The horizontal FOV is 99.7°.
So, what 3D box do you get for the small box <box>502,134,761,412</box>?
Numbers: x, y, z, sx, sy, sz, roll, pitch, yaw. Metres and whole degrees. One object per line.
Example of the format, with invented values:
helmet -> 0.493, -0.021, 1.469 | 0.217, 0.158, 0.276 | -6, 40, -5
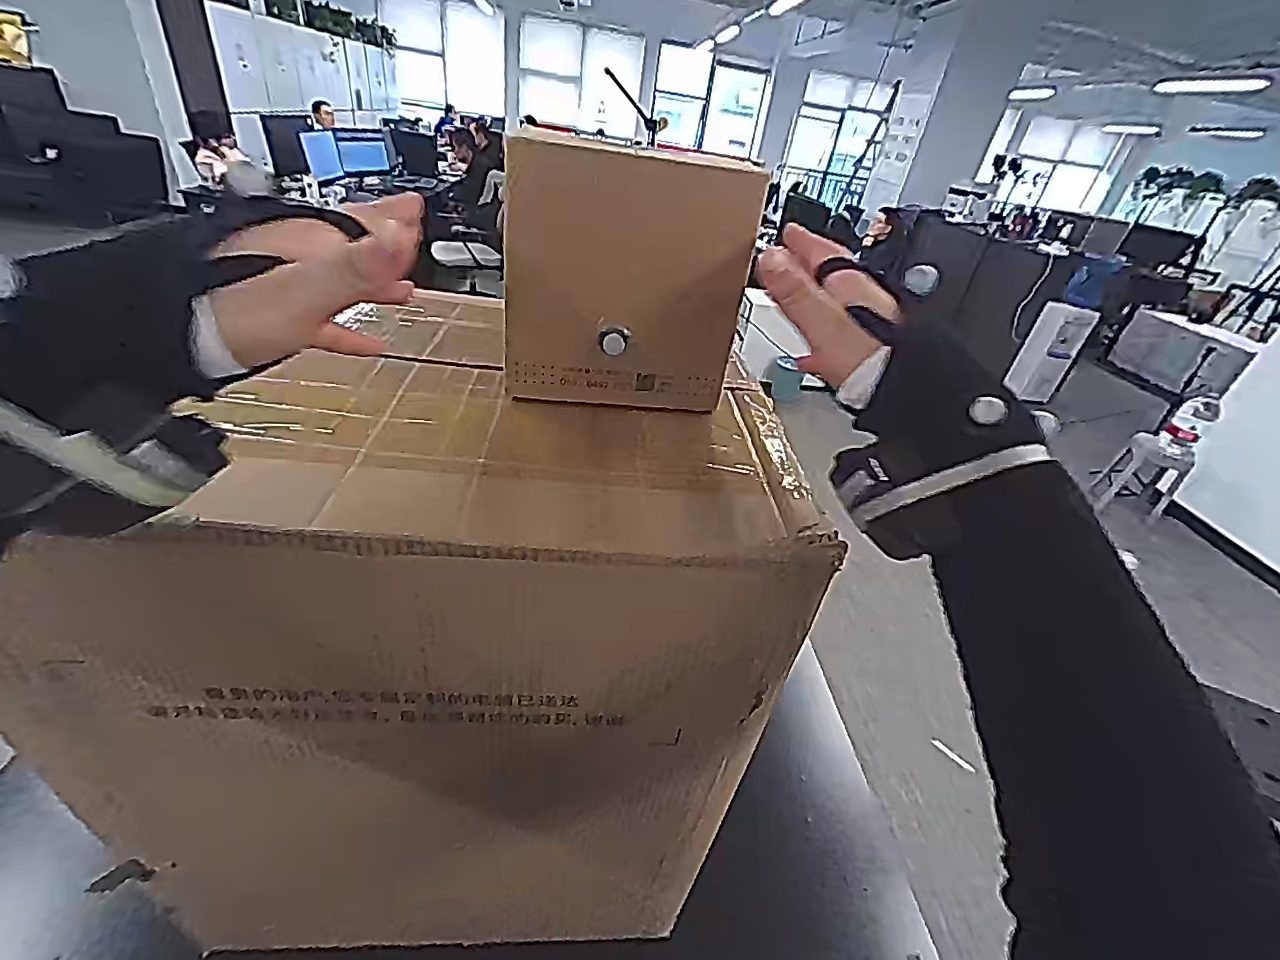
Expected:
small box -> -0.021, -0.172, 0.444 | 0.168, 0.176, 0.179 | 2, 33, -9
